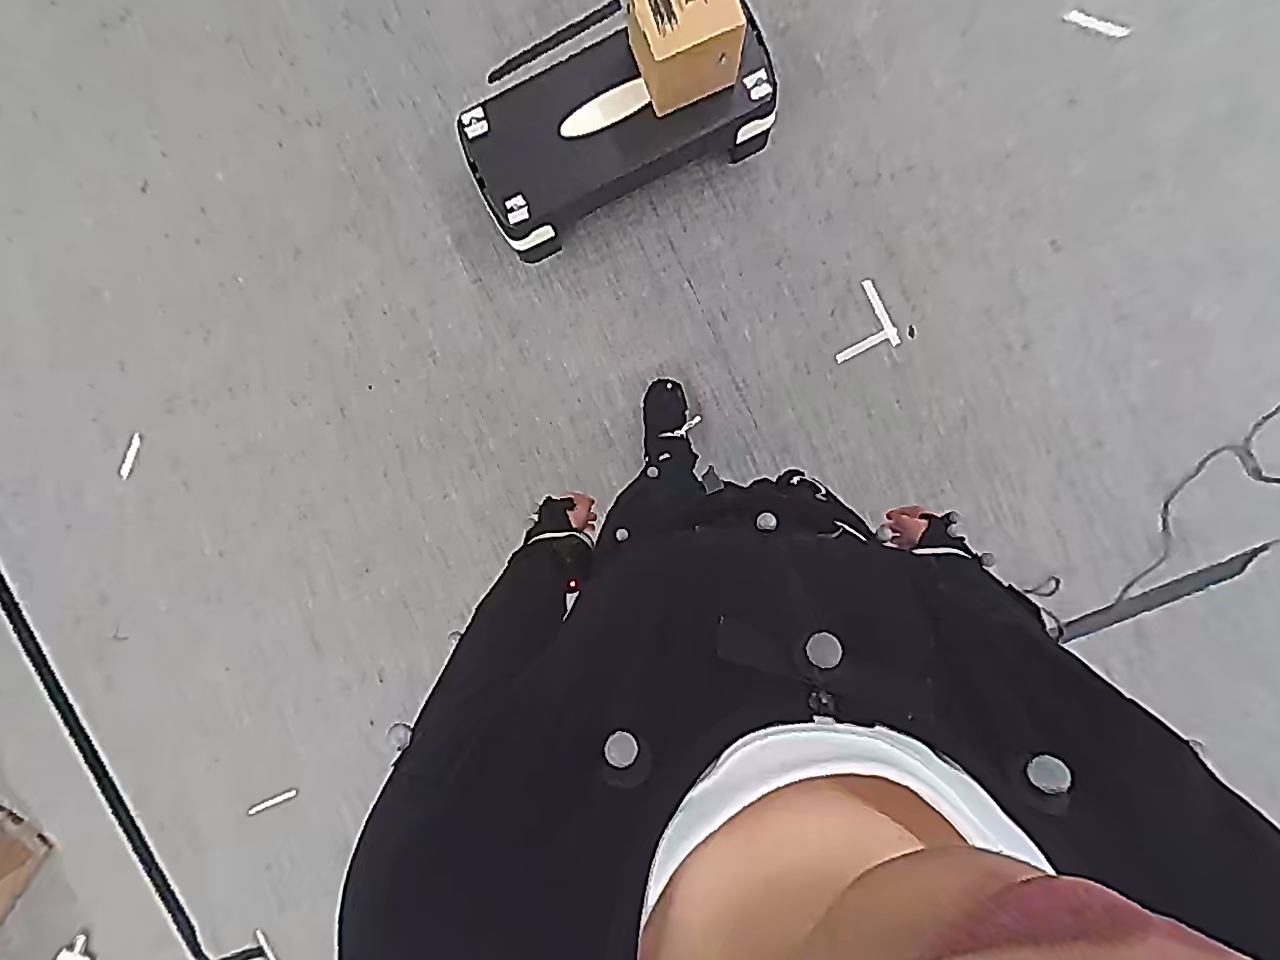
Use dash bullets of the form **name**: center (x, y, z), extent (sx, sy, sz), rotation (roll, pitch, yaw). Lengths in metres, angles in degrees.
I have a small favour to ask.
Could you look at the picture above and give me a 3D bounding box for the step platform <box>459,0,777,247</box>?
- **step platform**: center (-0.047, -0.817, 1.214), extent (0.684, 0.204, 0.286), rotation (-25, 92, 5)
